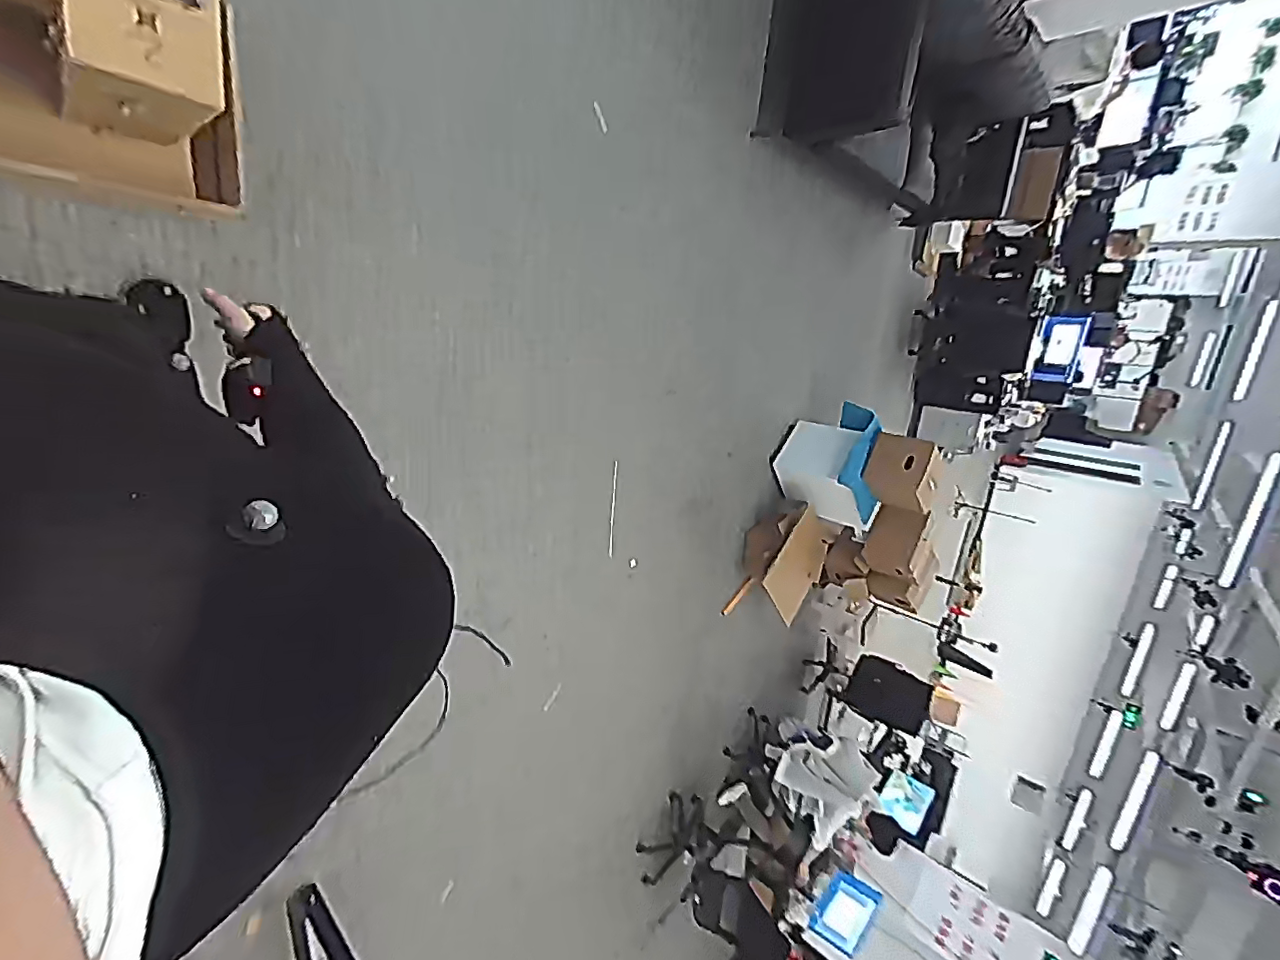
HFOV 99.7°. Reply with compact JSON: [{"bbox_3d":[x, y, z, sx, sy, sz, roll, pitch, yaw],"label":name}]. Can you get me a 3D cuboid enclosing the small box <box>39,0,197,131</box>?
[{"bbox_3d":[-0.848,-0.704,0.879,0.168,0.176,0.179,-9,111,-46],"label":"small box"}]
